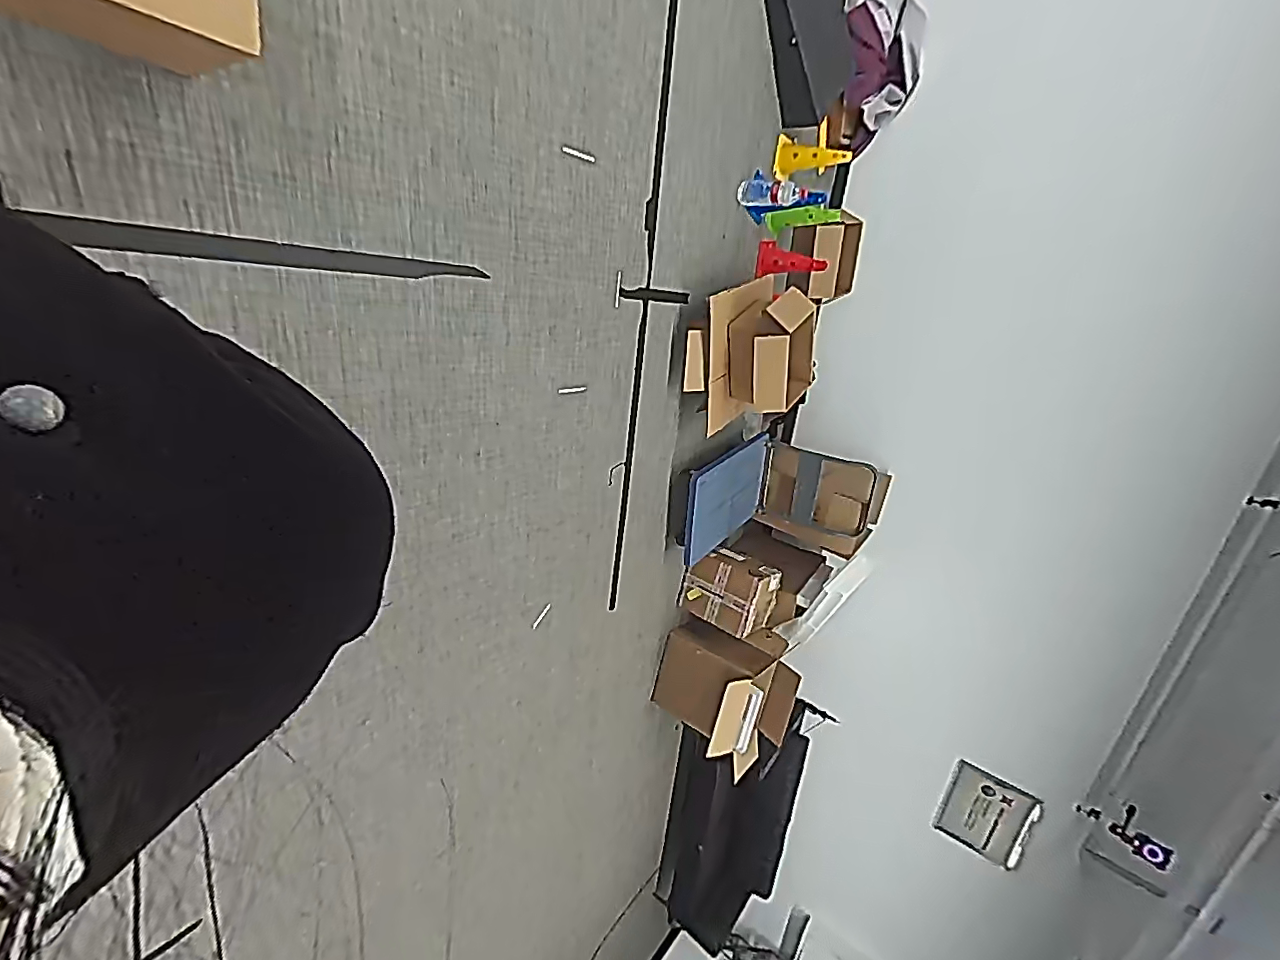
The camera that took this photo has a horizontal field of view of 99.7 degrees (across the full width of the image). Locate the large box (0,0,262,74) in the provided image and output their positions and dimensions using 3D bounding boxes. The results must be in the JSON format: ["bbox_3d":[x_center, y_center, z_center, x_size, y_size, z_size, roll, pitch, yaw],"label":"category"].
[{"bbox_3d":[-0.833,-0.839,0.755,0.408,0.320,0.320,-17,121,-52],"label":"large box"}]
